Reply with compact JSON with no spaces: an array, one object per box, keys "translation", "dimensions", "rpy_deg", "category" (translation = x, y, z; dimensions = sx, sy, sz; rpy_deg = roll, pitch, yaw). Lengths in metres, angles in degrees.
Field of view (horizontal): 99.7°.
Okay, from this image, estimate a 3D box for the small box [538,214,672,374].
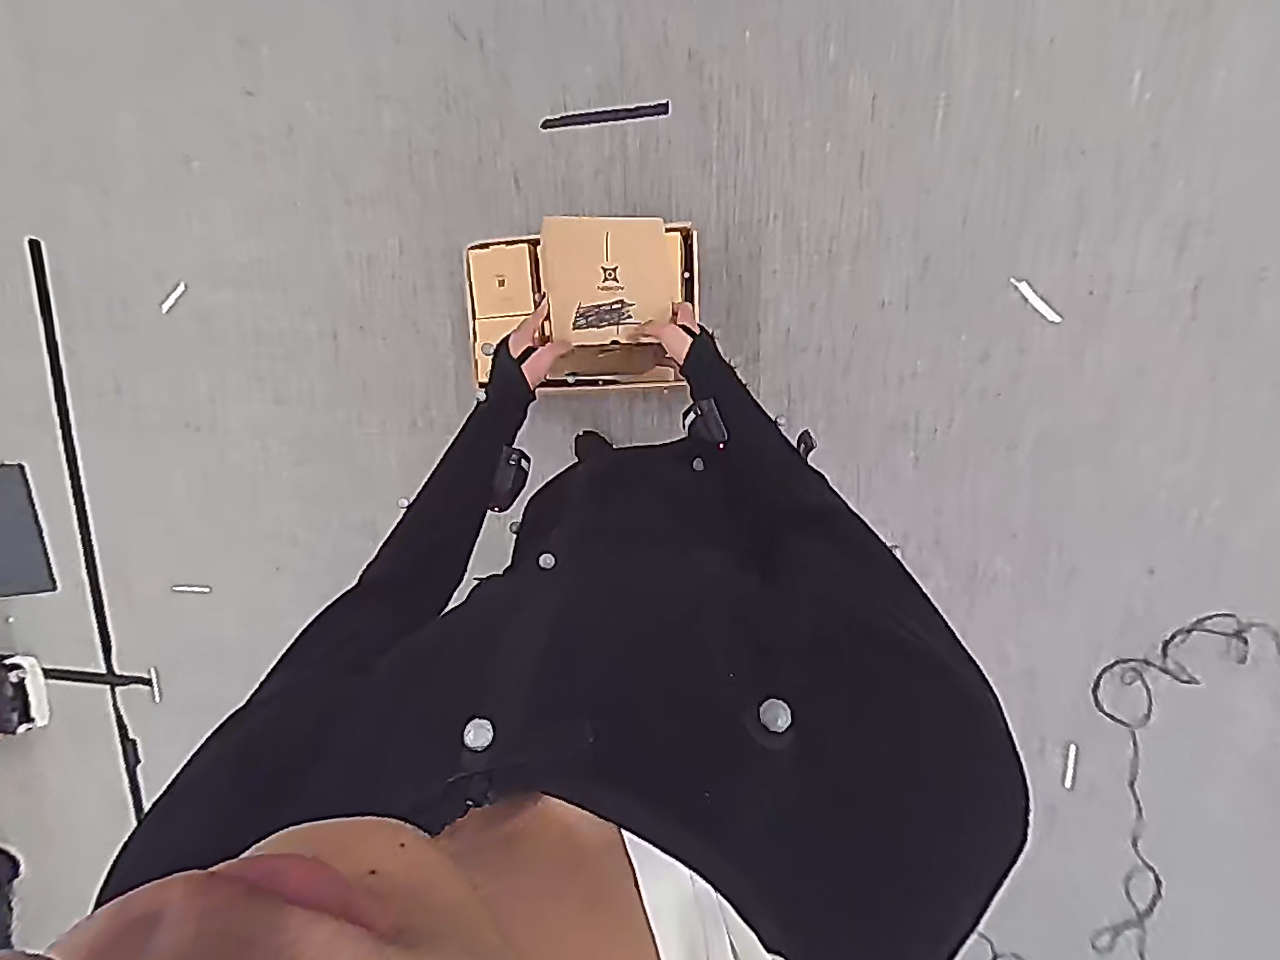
[{"translation":[-0.057,-0.255,0.780],"dimensions":[0.168,0.176,0.179],"rpy_deg":[-5,87,-11],"category":"small box"}]
